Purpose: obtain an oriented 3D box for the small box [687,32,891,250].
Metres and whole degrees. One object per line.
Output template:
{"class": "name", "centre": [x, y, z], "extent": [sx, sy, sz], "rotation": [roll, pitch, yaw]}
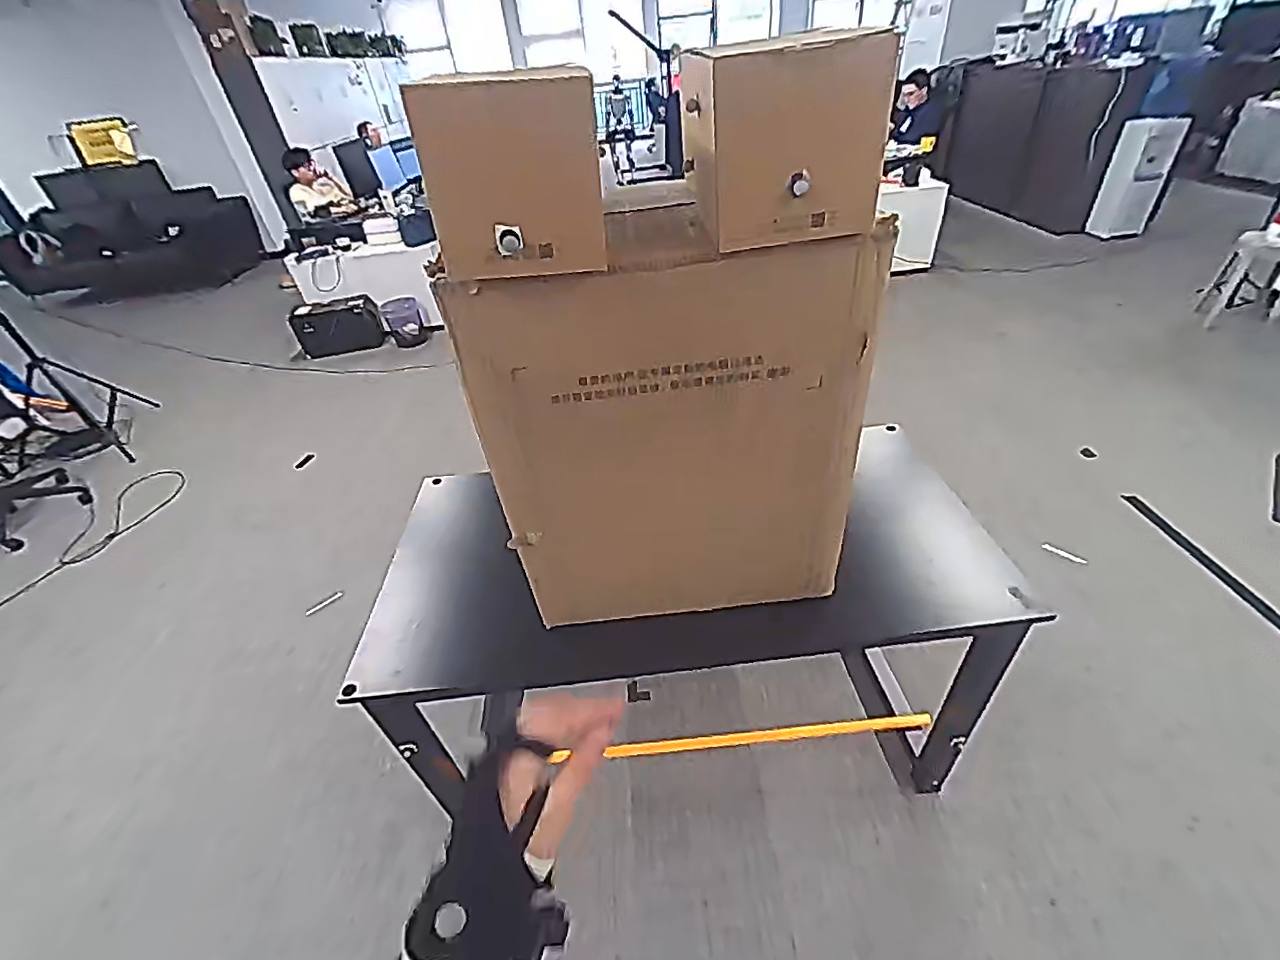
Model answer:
{"class": "small box", "centre": [0.145, -0.367, 0.590], "extent": [0.168, 0.176, 0.179], "rotation": [-8, 40, 3]}
